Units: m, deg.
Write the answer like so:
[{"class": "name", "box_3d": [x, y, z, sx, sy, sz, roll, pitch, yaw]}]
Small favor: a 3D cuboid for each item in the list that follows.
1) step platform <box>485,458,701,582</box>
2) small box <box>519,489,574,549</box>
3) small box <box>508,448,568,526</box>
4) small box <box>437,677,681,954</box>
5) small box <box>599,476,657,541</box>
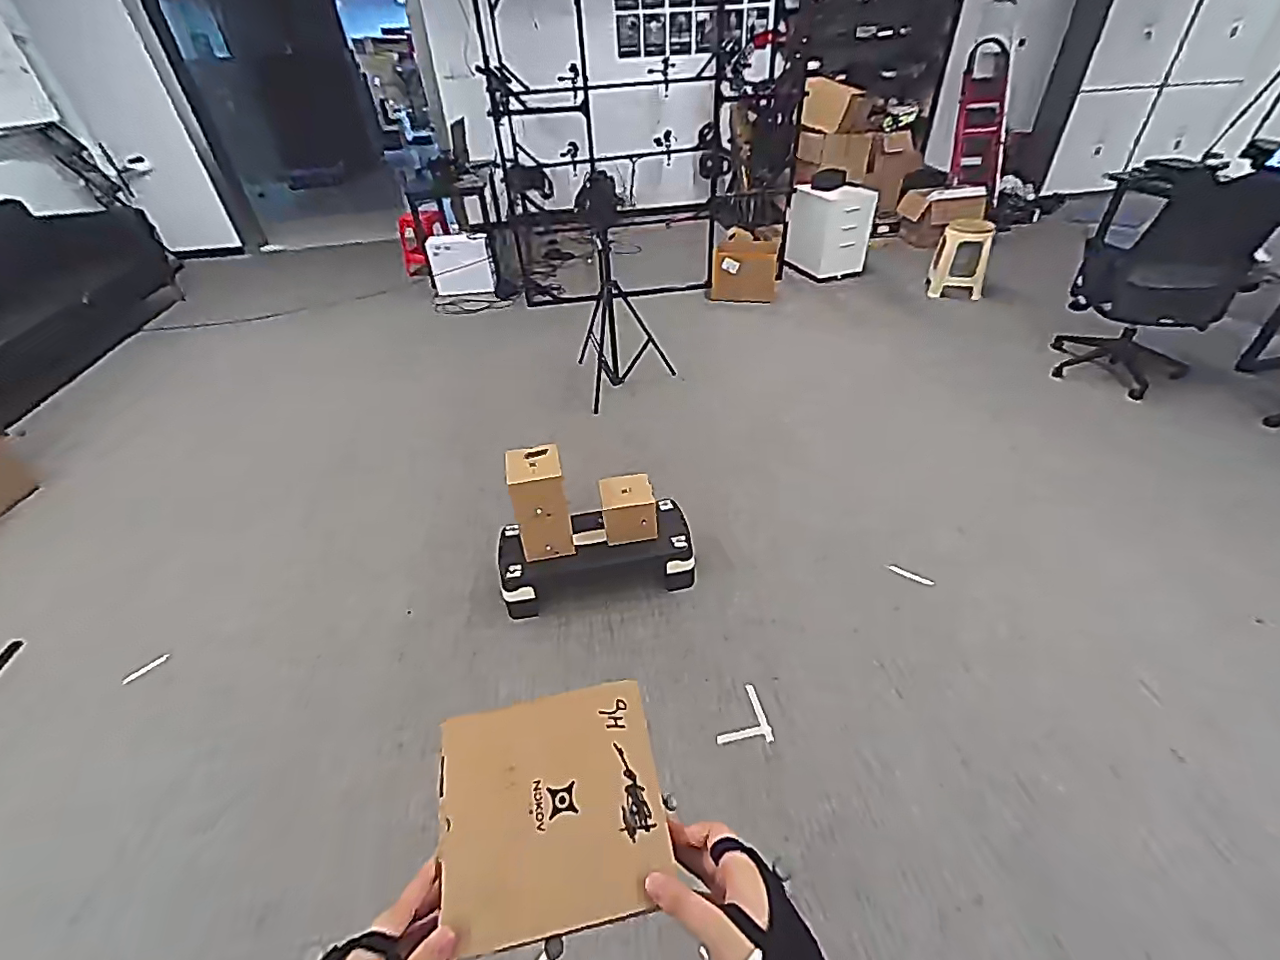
[{"class": "step platform", "box_3d": [-0.148, 0.129, 1.791, 0.684, 0.204, 0.286, -9, 38, -7]}, {"class": "small box", "box_3d": [-0.316, 0.153, 1.831, 0.168, 0.176, 0.179, -9, 39, -7]}, {"class": "small box", "box_3d": [-0.327, 0.022, 1.732, 0.168, 0.176, 0.179, -10, 39, -8]}, {"class": "small box", "box_3d": [-0.067, 0.303, 0.488, 0.179, 0.176, 0.168, -9, 50, -7]}, {"class": "small box", "box_3d": [-0.041, 0.110, 1.865, 0.179, 0.176, 0.168, -9, 38, -7]}]
